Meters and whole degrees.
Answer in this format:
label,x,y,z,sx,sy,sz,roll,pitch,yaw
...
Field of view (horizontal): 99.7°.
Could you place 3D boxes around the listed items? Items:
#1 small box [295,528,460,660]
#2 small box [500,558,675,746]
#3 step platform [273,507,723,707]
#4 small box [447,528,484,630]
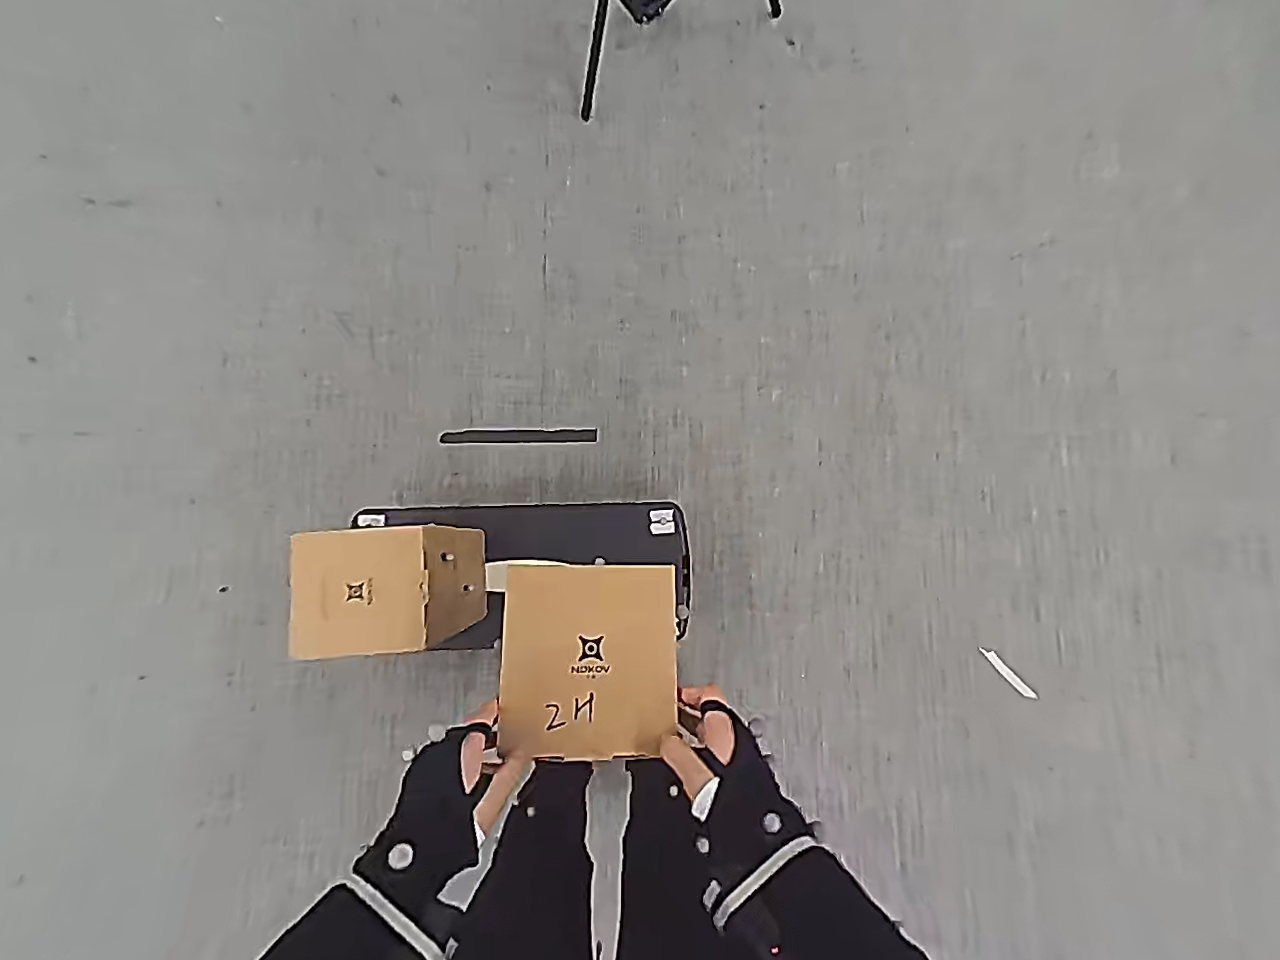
label,x,y,z,sx,sy,sz,roll,pitch,yaw
small box,-0.370,0.158,0.793,0.179,0.176,0.168,-4,83,-3
small box,-0.052,0.183,0.601,0.168,0.176,0.179,1,77,-2
step platform,-0.216,0.201,0.924,0.684,0.204,0.286,-1,83,-3
small box,-0.378,0.174,0.956,0.179,0.176,0.168,-3,84,-3
